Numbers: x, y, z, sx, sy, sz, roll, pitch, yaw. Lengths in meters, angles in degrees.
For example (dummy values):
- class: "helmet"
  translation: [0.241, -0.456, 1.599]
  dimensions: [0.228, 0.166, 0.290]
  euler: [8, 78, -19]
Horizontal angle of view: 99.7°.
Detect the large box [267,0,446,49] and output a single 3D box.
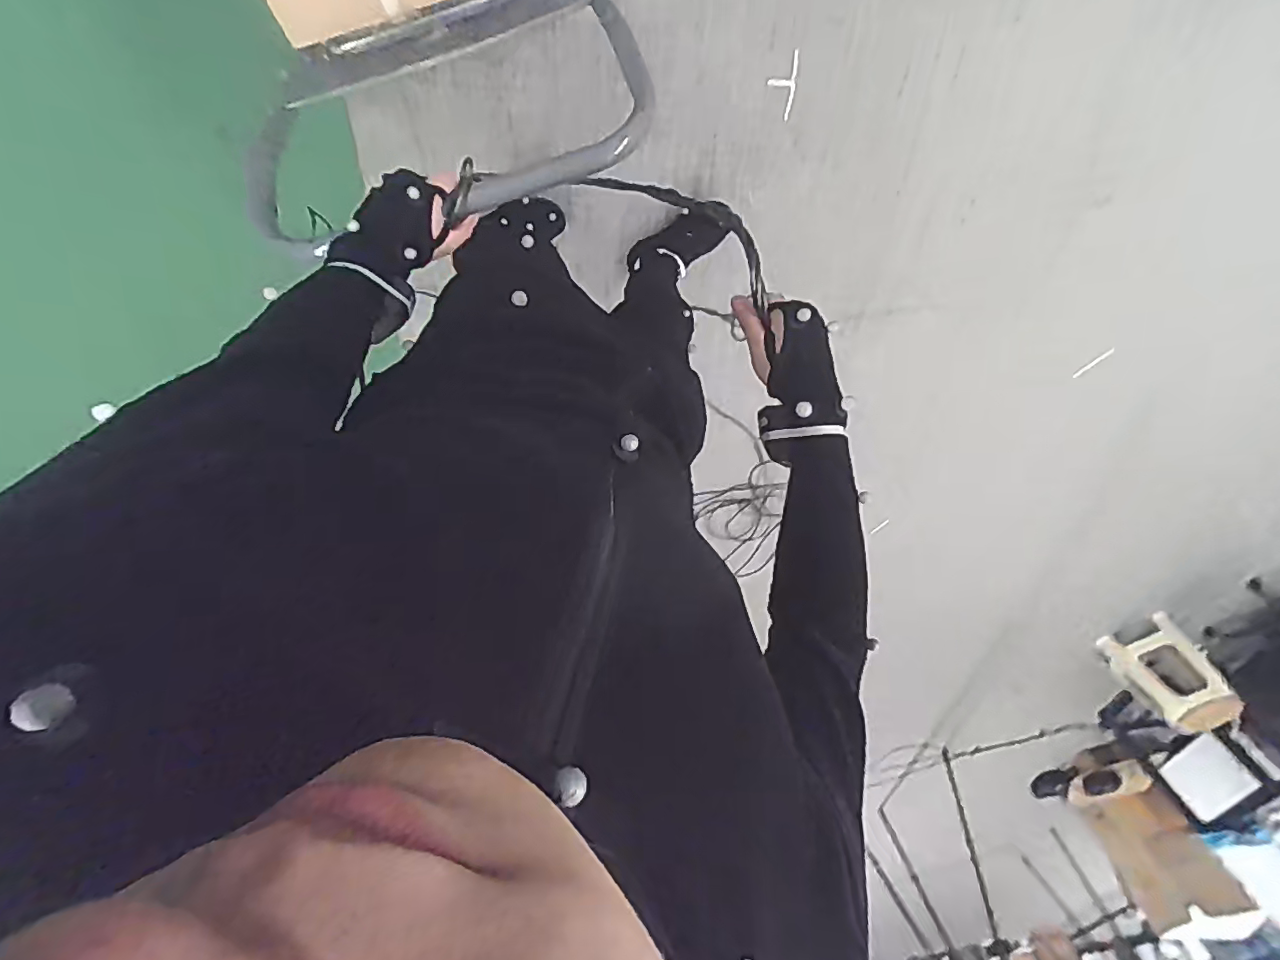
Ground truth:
- class: "large box"
  translation: [-0.413, -0.886, 0.708]
  dimensions: [0.320, 0.320, 0.408]
  euler: [-16, 141, 2]
